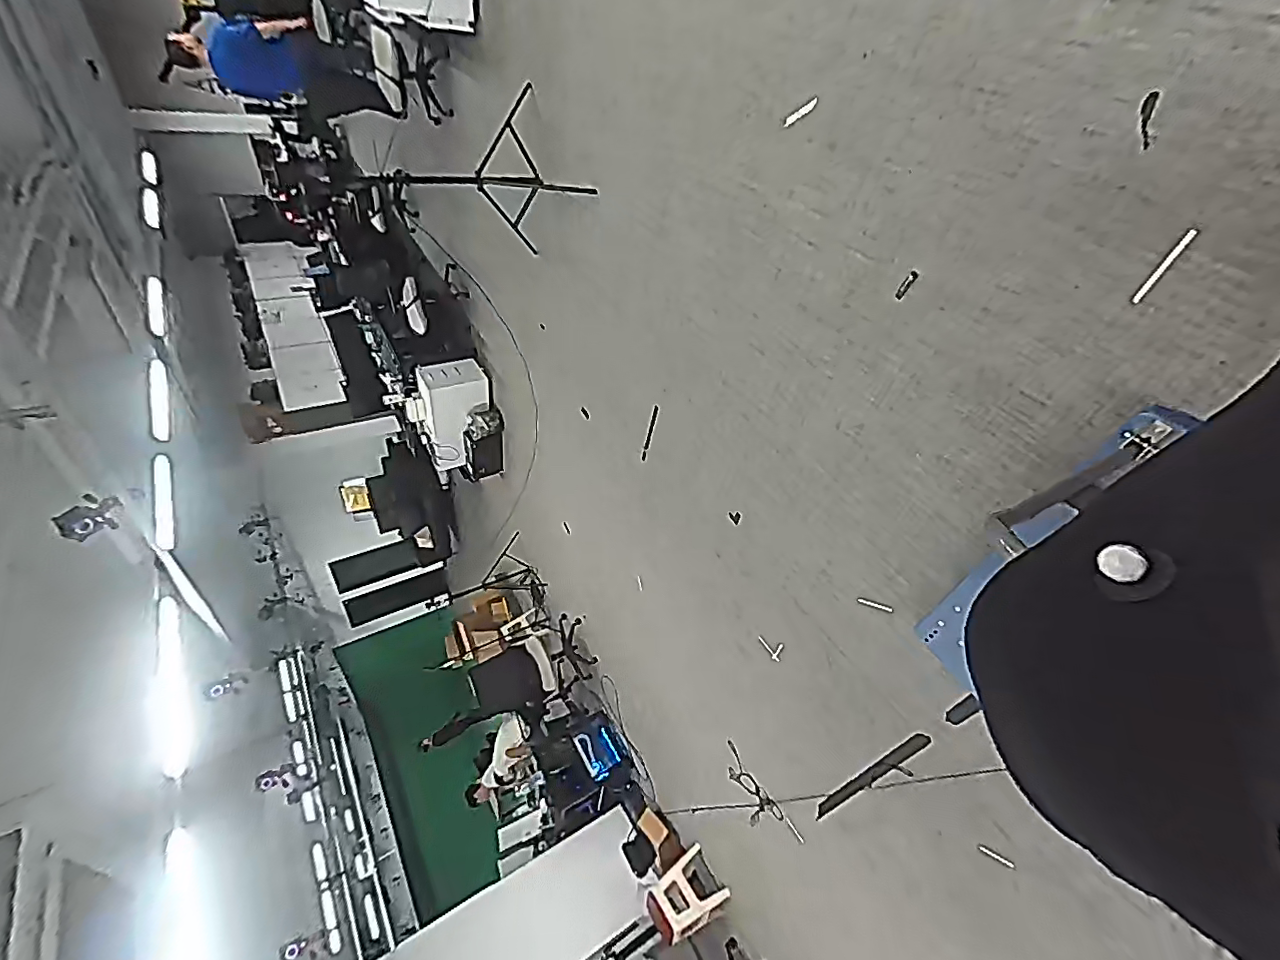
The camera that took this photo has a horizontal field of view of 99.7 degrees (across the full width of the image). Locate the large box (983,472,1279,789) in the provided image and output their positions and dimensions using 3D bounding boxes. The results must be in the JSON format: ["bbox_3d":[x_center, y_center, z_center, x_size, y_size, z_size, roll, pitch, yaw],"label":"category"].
[{"bbox_3d":[0.969,0.253,0.987,0.408,0.320,0.320,53,146,33],"label":"large box"}]
